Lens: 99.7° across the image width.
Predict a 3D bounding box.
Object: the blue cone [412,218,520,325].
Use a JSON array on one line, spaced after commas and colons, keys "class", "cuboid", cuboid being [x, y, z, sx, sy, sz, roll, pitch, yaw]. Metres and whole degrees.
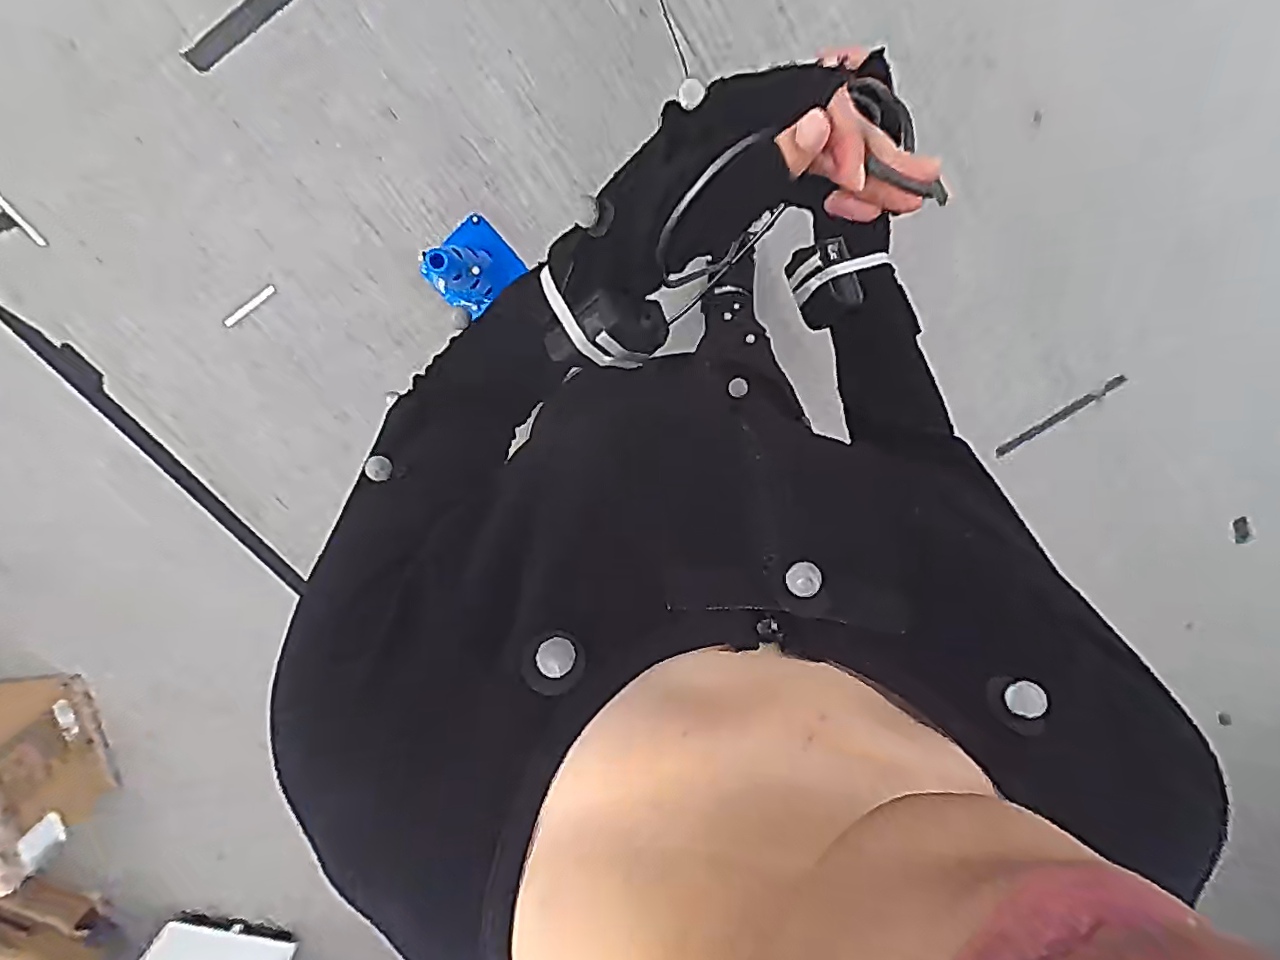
[{"class": "blue cone", "cuboid": [-0.392, -0.446, 1.135, 0.193, 0.380, 0.192, -39, 105, 8]}]
